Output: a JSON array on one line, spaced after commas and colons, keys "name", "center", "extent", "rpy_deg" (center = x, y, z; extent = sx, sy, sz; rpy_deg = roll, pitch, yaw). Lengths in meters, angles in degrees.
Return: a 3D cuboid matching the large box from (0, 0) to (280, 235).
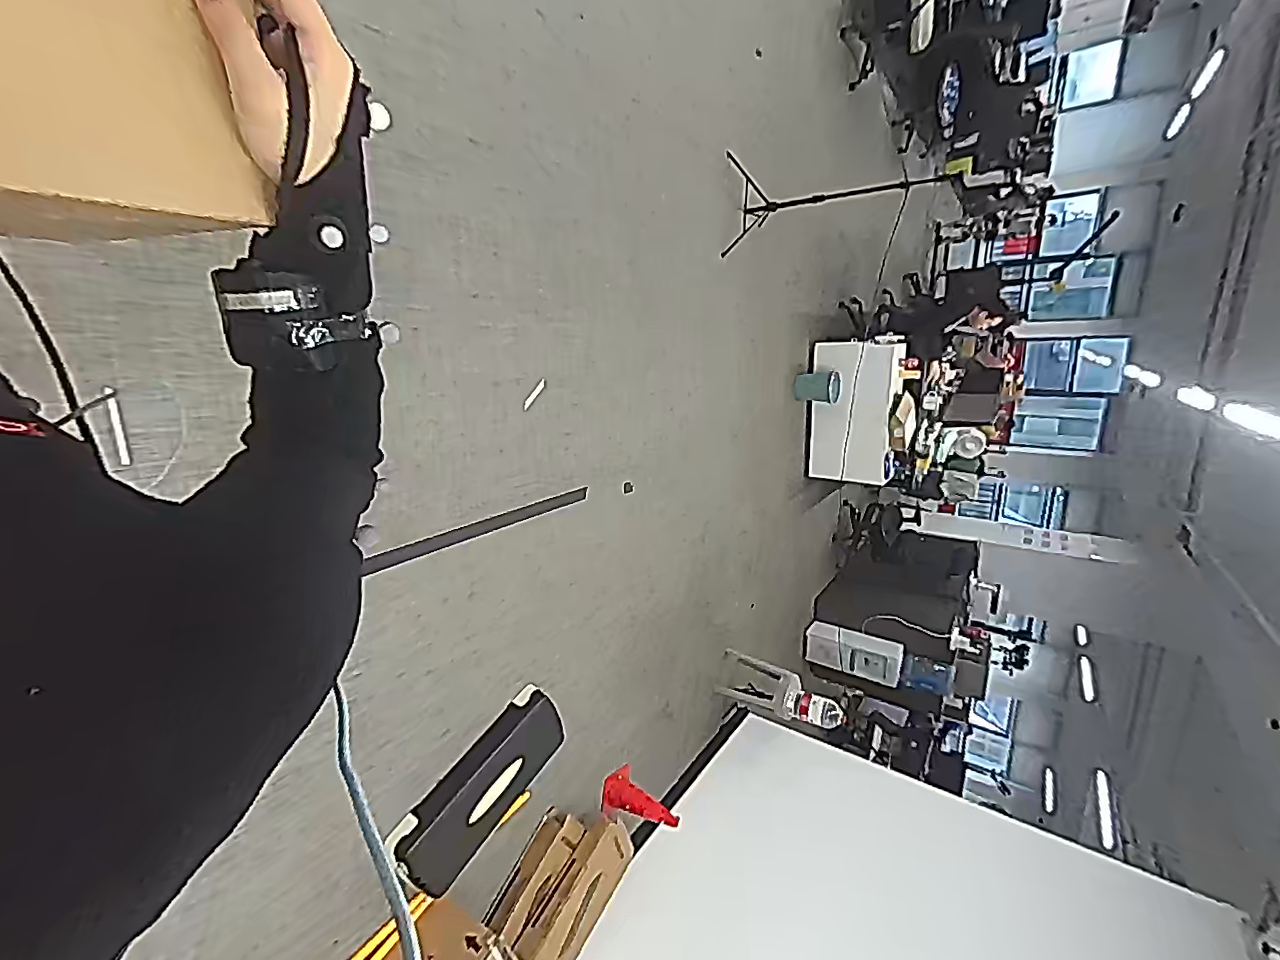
[{"name": "large box", "center": [-0.442, -0.281, 0.191], "extent": [0.408, 0.320, 0.320], "rpy_deg": [-25, 123, -56]}]
